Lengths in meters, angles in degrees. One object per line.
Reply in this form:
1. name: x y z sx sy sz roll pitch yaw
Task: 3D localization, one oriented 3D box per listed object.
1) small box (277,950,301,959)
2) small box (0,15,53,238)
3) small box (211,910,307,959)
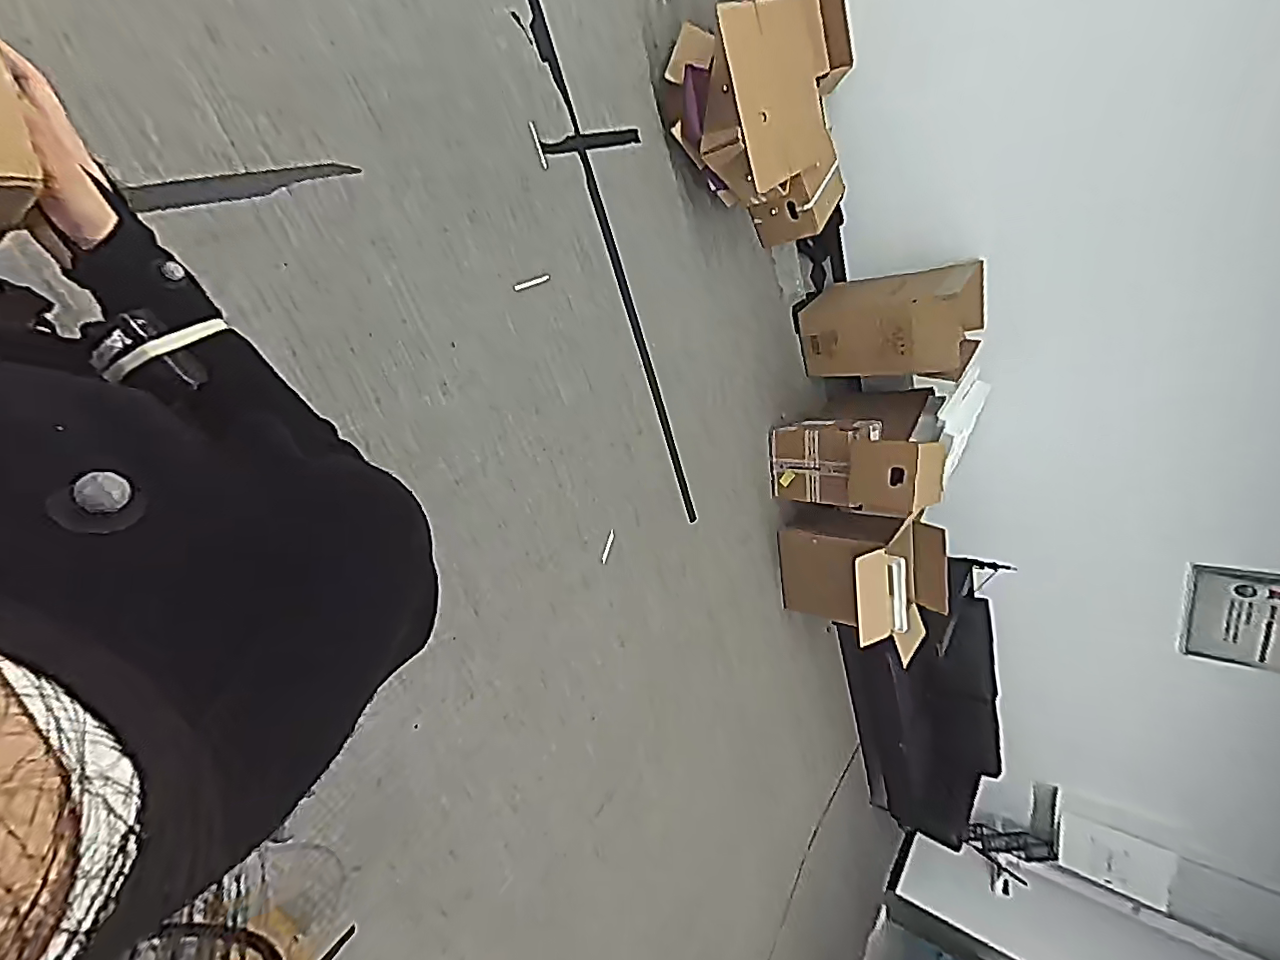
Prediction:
1. small box: -0.784 1.192 1.173 0.179 0.176 0.168 -37 119 -40
2. small box: -0.437 -0.220 0.255 0.168 0.176 0.179 -26 113 -53
3. small box: -0.910 1.188 1.280 0.179 0.176 0.168 -39 121 -39
